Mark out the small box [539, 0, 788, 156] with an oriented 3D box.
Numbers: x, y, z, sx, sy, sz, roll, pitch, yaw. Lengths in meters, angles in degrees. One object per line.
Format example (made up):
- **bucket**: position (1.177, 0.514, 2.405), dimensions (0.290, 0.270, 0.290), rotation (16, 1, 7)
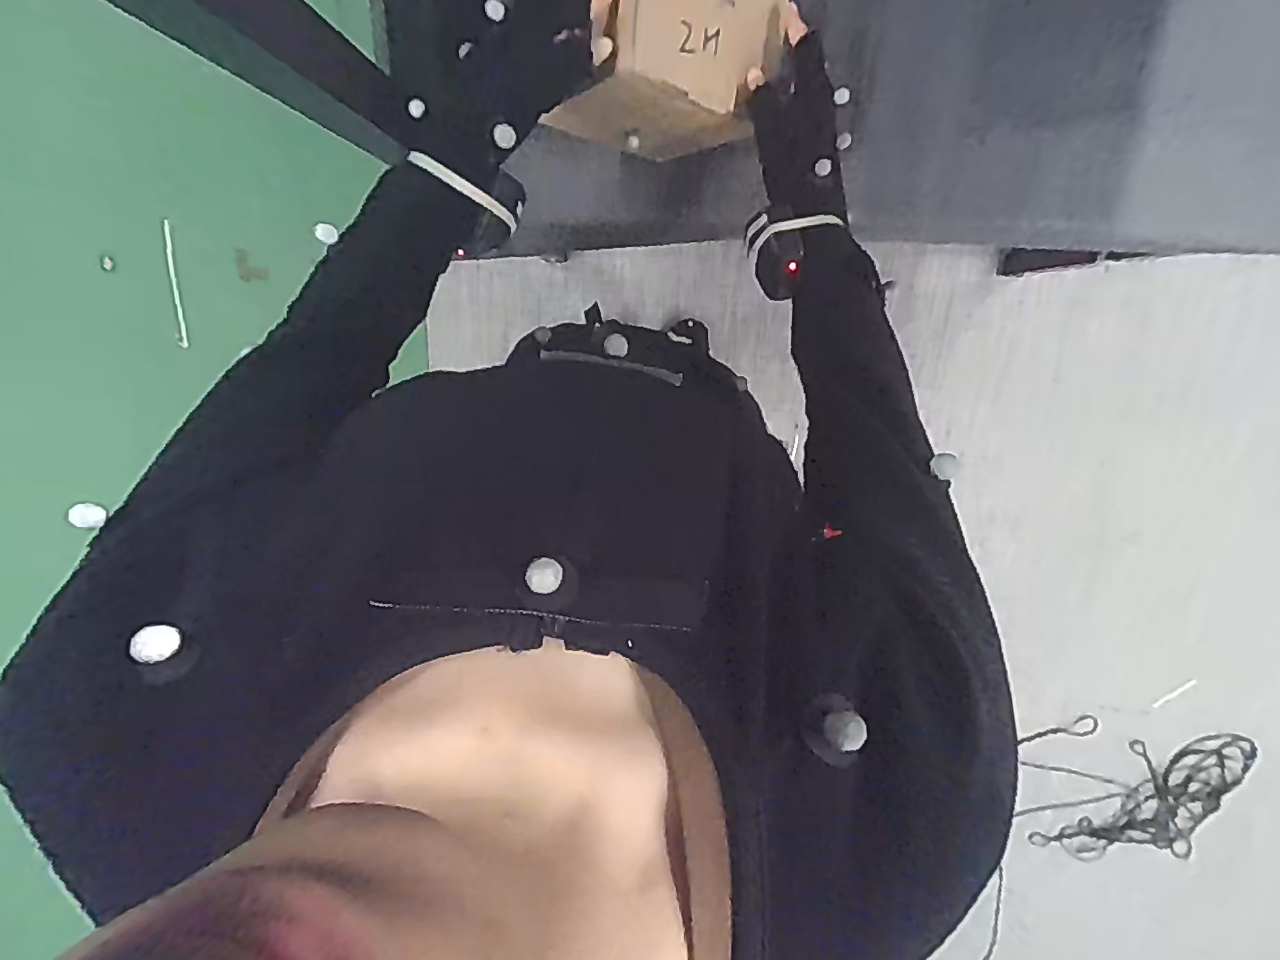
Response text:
- **small box**: position (0.018, -0.431, 0.501), dimensions (0.168, 0.176, 0.179), rotation (-7, 110, -38)
